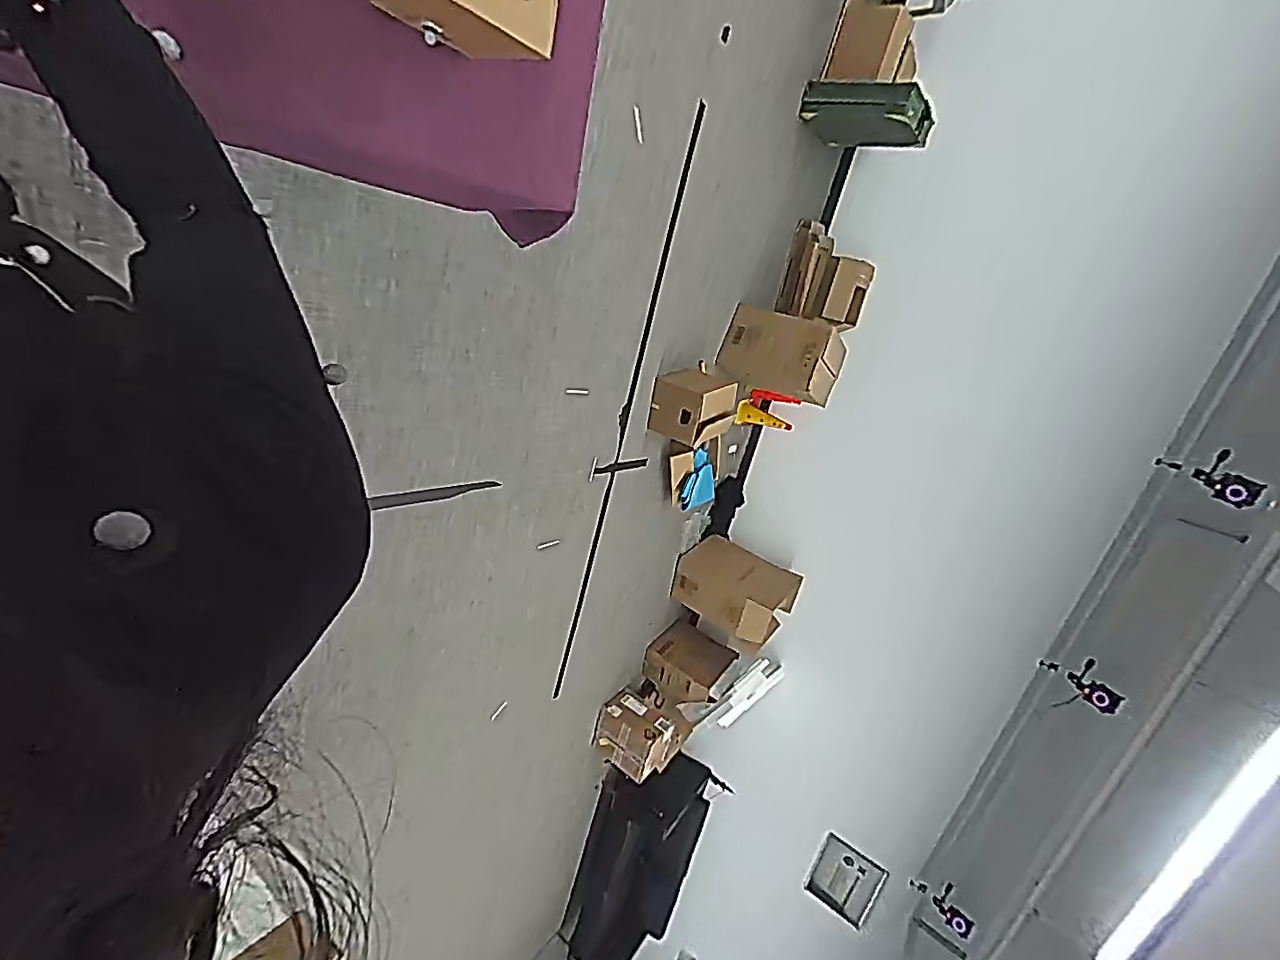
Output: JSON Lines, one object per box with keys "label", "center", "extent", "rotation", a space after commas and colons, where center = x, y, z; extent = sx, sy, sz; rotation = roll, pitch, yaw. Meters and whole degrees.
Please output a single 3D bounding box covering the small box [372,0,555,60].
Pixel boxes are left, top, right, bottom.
{"label": "small box", "center": [-0.217, -0.655, 0.666], "extent": [0.168, 0.176, 0.179], "rotation": [-18, 128, -53]}
